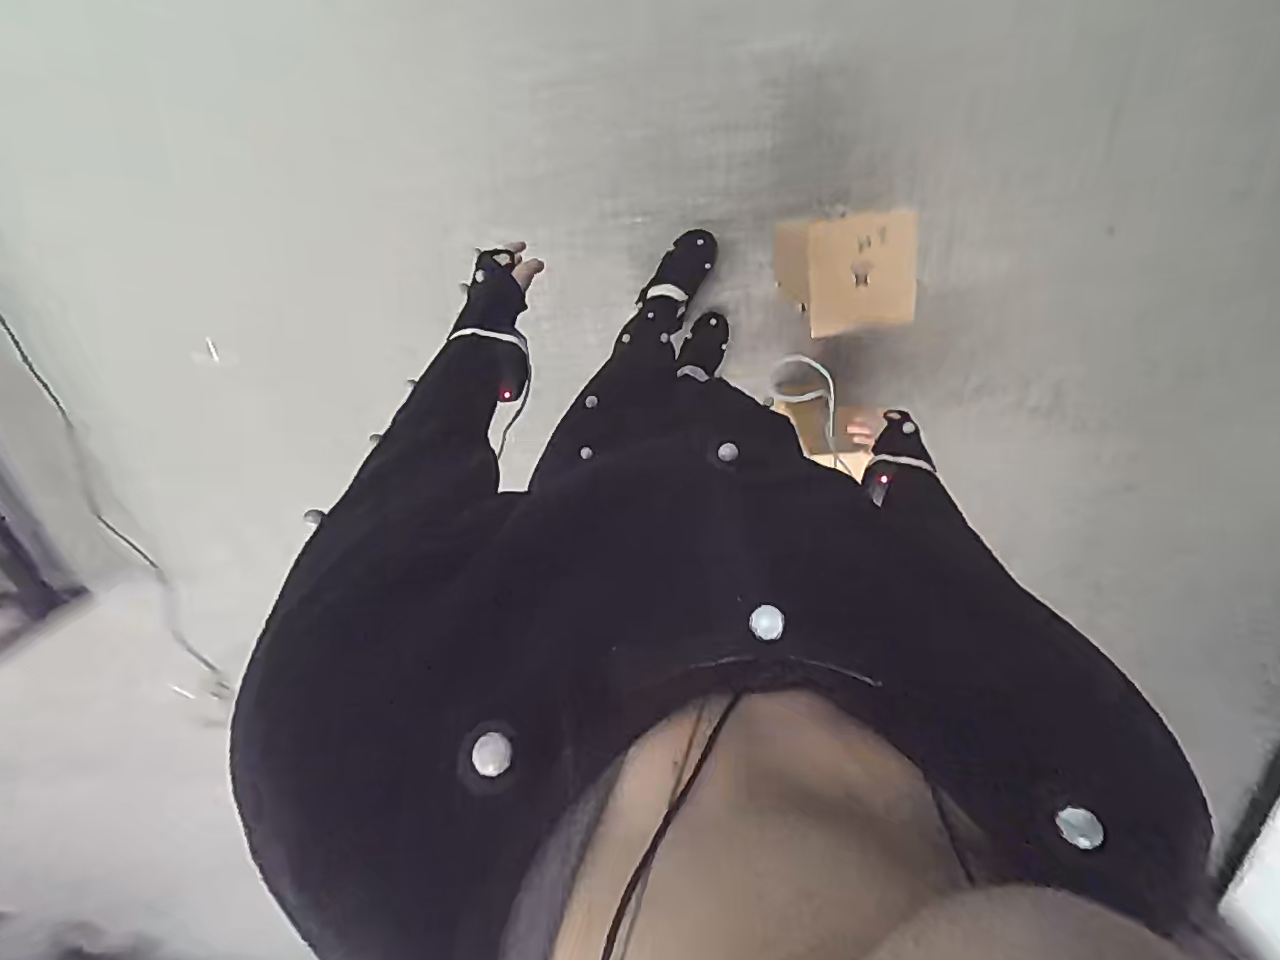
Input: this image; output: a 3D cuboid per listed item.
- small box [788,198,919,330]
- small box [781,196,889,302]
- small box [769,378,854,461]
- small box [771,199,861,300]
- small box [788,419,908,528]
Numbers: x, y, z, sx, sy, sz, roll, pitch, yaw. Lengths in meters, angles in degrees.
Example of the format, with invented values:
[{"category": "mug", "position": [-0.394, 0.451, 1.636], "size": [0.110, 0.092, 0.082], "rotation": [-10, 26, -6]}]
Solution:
[{"category": "small box", "position": [0.352, -0.365, 0.917], "size": [0.168, 0.176, 0.179], "rotation": [-7, 112, 6]}, {"category": "small box", "position": [0.378, -0.441, 1.064], "size": [0.168, 0.176, 0.179], "rotation": [-8, 113, 8]}, {"category": "small box", "position": [0.426, -0.156, 1.370], "size": [0.179, 0.176, 0.168], "rotation": [-2, 115, 6]}, {"category": "small box", "position": [0.393, -0.514, 1.210], "size": [0.168, 0.176, 0.179], "rotation": [-8, 112, 8]}, {"category": "small box", "position": [0.401, -0.019, 1.073], "size": [0.179, 0.176, 0.168], "rotation": [-2, 113, 6]}]
